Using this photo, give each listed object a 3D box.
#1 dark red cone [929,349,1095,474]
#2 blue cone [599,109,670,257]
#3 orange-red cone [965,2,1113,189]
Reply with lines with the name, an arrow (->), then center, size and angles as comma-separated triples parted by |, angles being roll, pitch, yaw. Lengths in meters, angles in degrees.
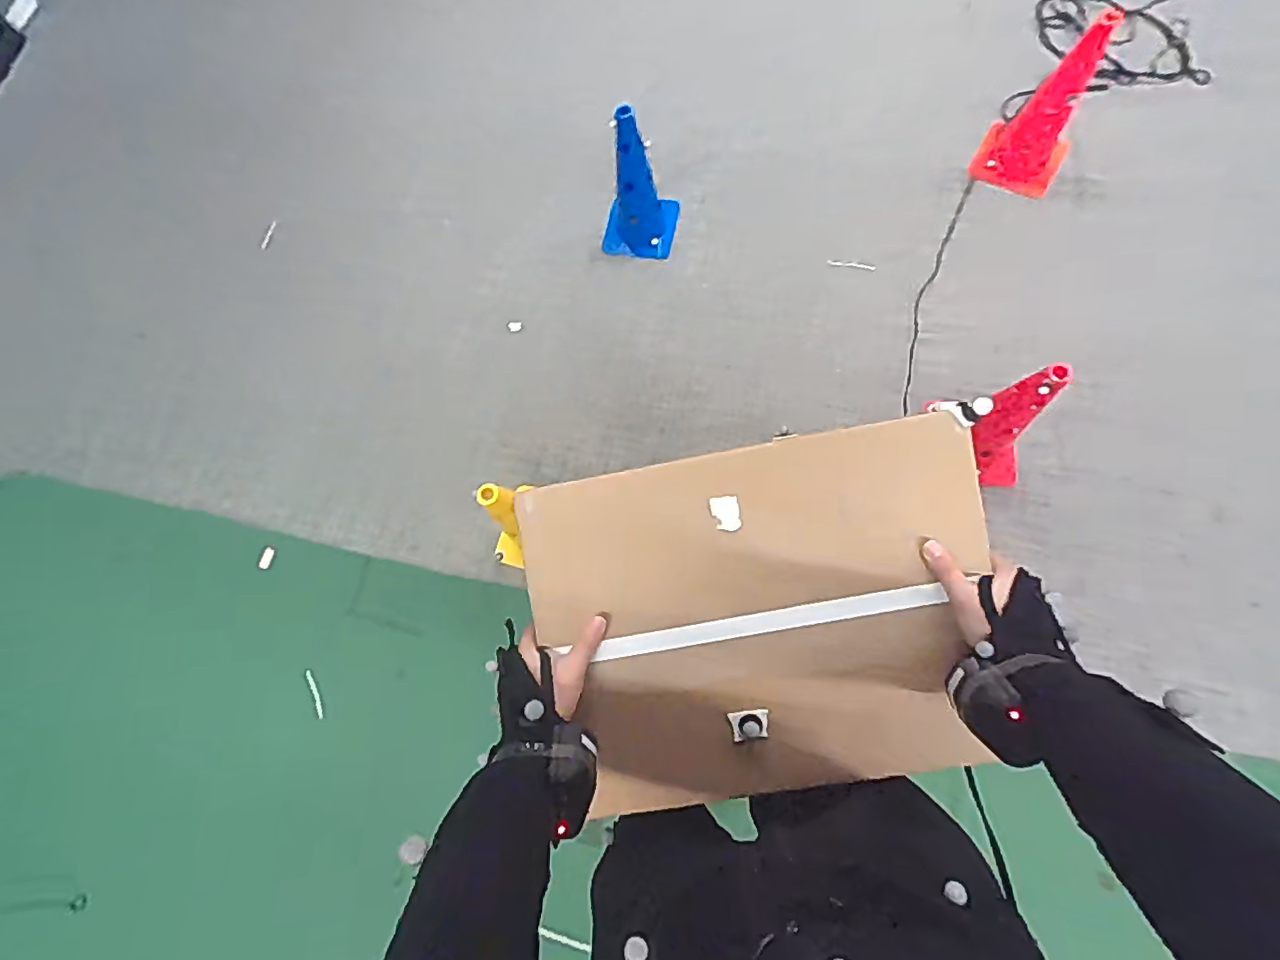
dark red cone -> 0.730, -0.150, 1.053 | 0.202, 0.394, 0.201 | 3, 77, 9
blue cone -> -0.038, -0.766, 1.386 | 0.192, 0.380, 0.193 | 10, 75, 11
orange-red cone -> 0.973, -0.919, 1.273 | 0.199, 0.360, 0.198 | 31, 81, 14
